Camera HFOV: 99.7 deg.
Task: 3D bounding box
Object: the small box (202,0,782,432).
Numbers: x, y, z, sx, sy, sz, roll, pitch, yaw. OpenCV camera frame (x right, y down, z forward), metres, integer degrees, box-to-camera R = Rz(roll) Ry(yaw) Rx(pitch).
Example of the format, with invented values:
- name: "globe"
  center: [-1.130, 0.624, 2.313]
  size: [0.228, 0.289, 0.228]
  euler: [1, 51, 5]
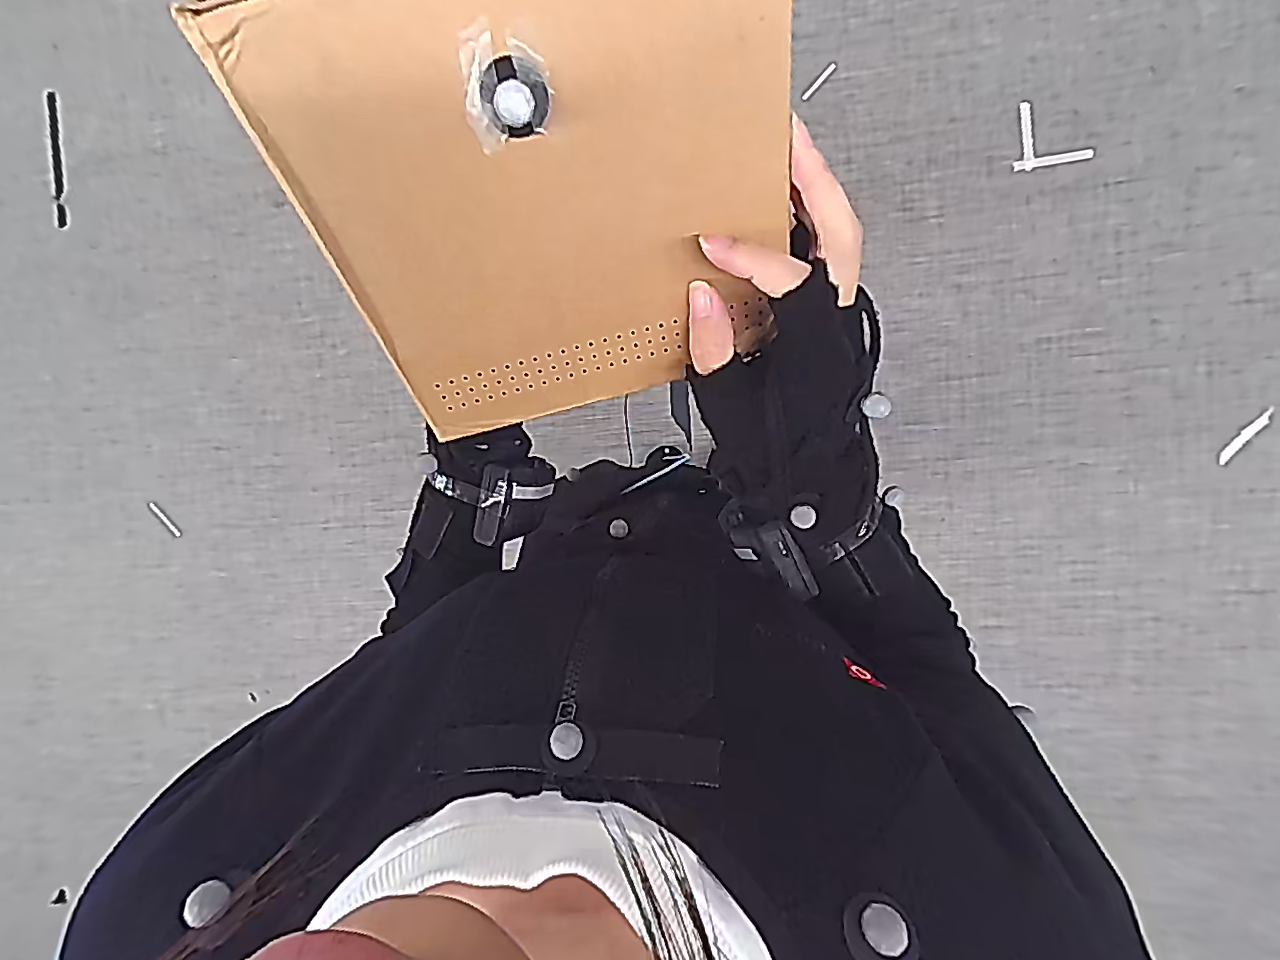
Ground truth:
- name: "small box"
  center: [-0.039, -0.146, 0.263]
  size: [0.179, 0.168, 0.176]
  euler: [-14, 136, 1]
